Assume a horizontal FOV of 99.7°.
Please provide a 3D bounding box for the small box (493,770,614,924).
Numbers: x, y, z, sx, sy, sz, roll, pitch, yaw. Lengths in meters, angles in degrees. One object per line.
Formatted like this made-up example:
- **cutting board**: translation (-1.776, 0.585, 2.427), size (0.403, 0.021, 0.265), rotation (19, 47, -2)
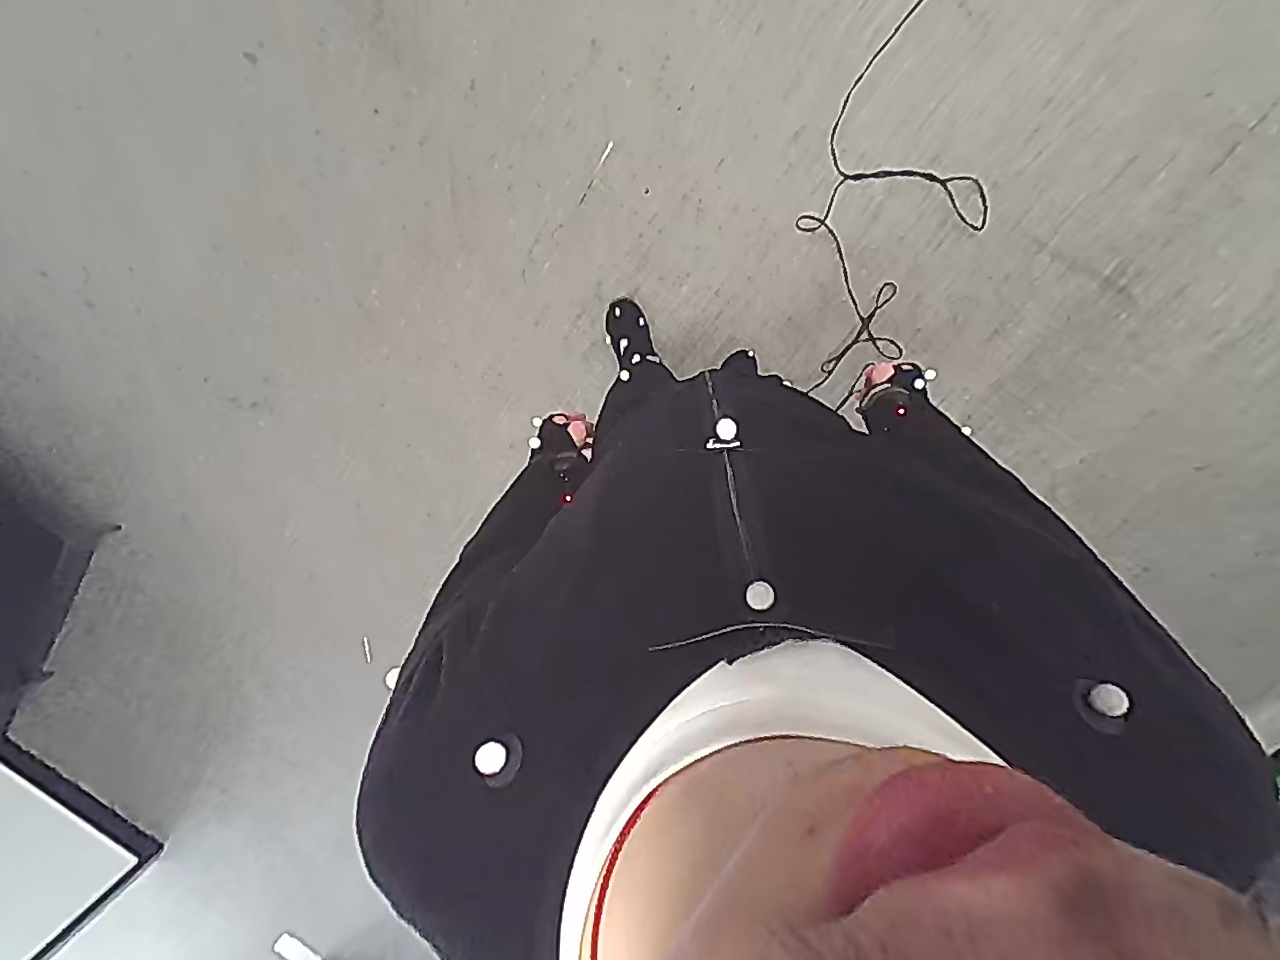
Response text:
- **small box**: translation (-0.169, 0.755, 1.129), size (0.168, 0.176, 0.179), rotation (38, 107, -3)
